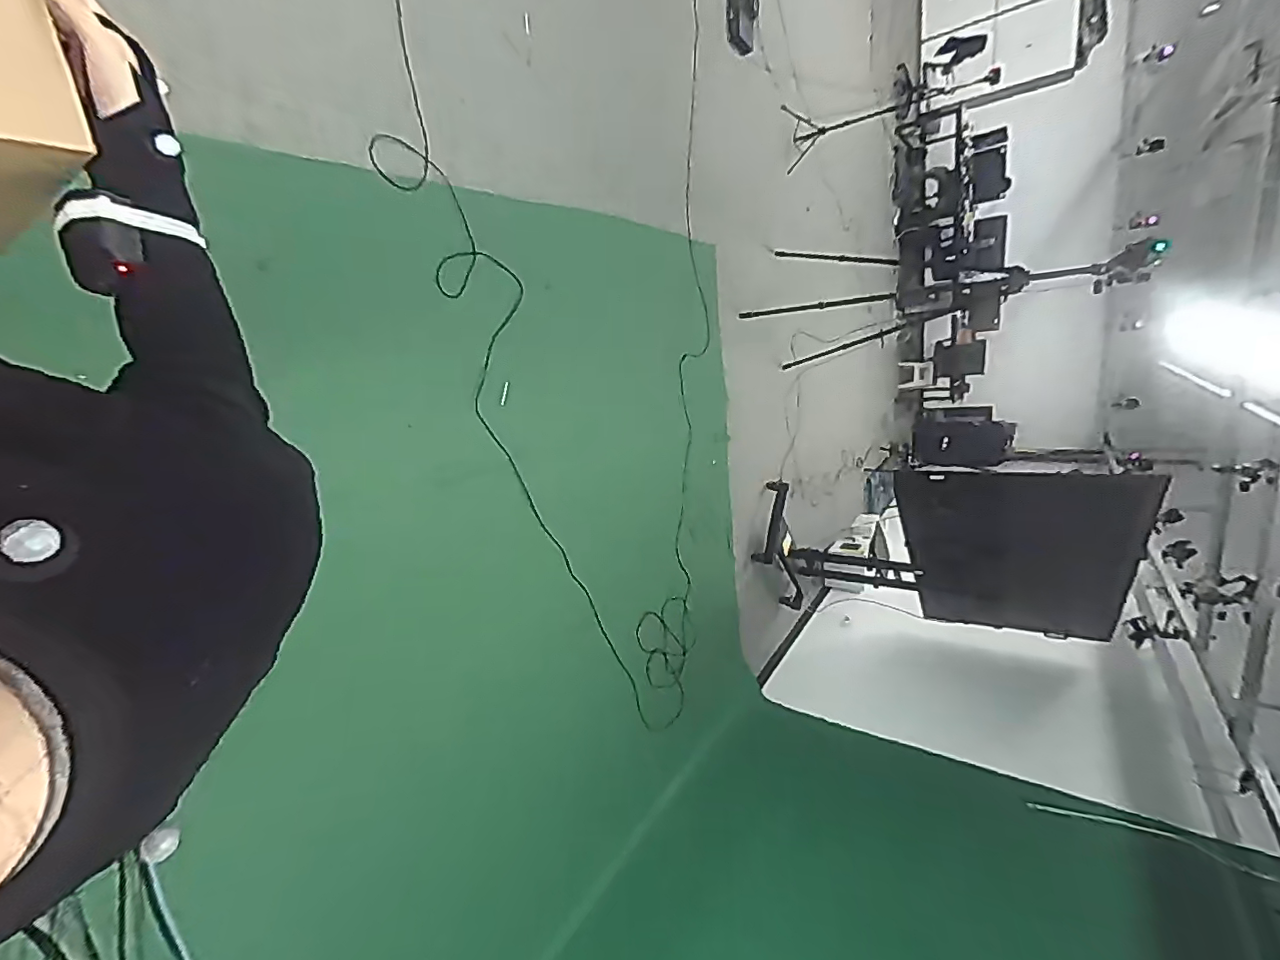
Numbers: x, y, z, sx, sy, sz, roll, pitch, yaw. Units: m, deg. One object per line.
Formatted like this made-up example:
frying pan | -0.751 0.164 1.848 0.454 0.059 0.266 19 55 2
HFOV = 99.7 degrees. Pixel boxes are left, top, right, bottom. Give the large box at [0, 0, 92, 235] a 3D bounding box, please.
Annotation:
large box | -0.677 -0.344 0.307 0.408 0.320 0.320 -30 113 -55
